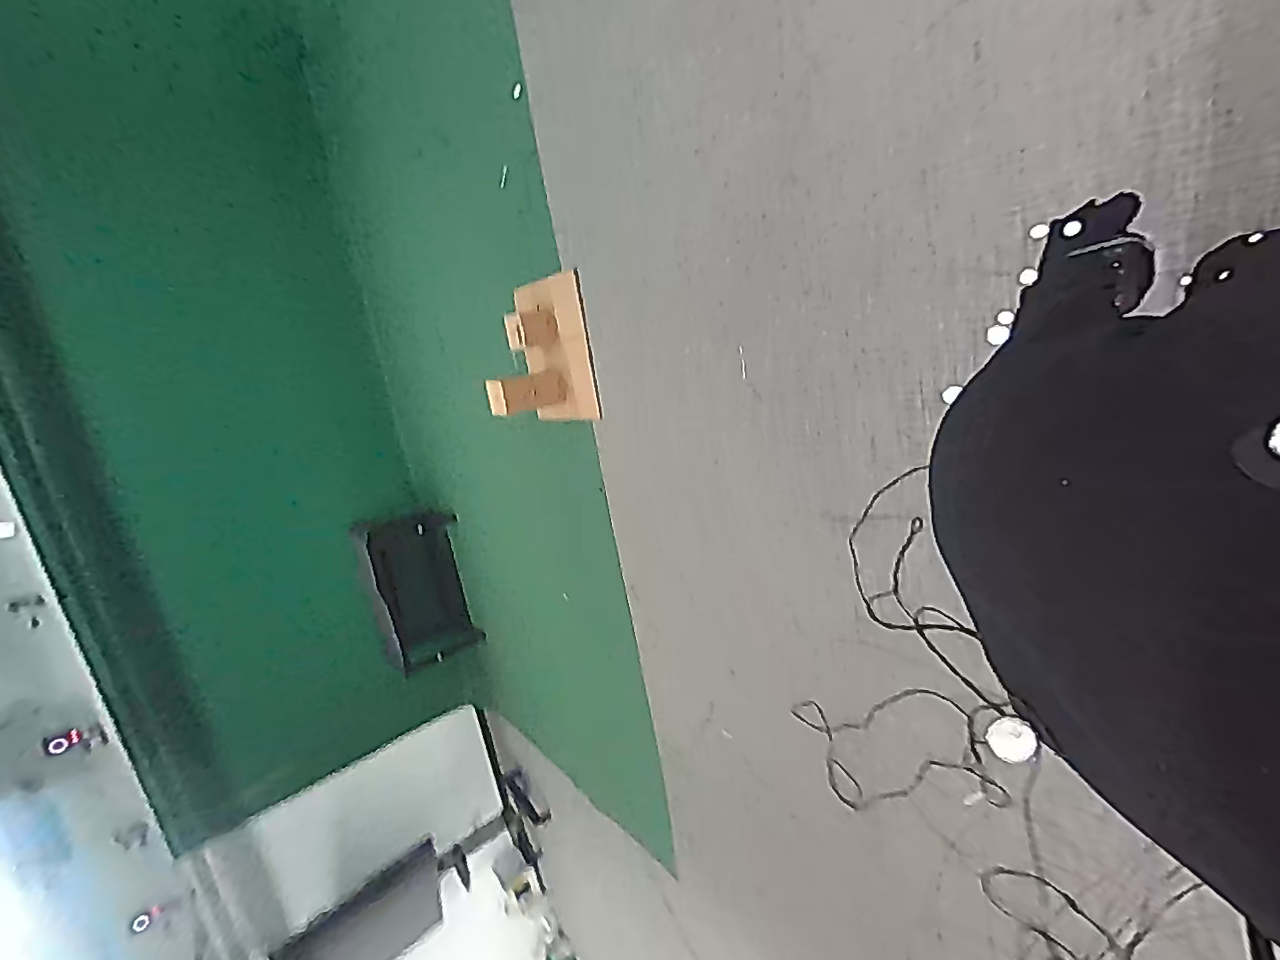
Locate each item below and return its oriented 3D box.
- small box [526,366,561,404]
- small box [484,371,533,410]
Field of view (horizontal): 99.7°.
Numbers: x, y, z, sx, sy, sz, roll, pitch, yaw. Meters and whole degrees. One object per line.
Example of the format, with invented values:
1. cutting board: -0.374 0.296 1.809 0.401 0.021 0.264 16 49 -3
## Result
1. small box: -0.522 -0.487 2.777 0.179 0.176 0.168 11 115 50
2. small box: -0.653 -0.449 2.688 0.179 0.176 0.168 12 115 49
